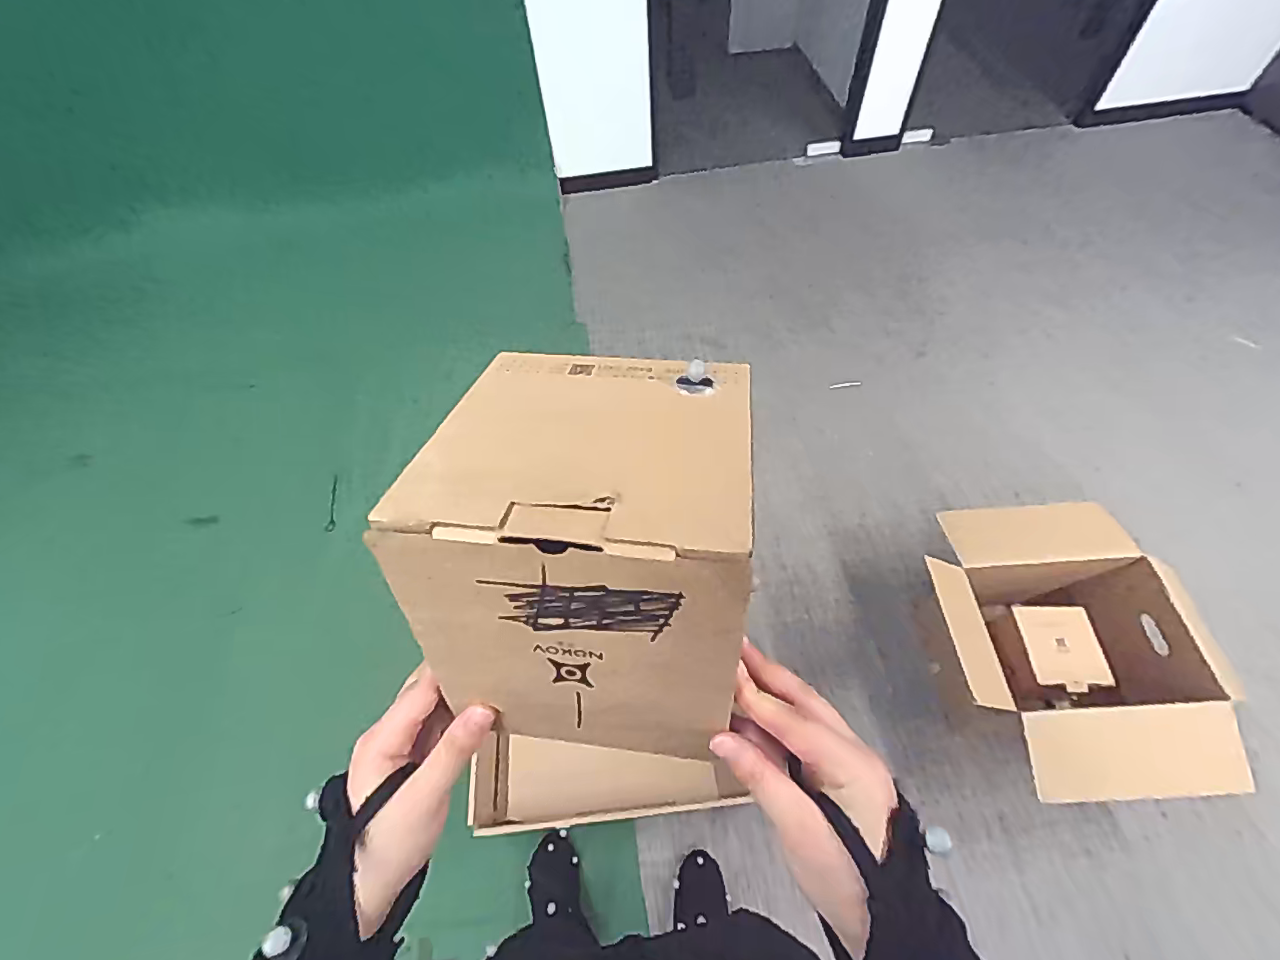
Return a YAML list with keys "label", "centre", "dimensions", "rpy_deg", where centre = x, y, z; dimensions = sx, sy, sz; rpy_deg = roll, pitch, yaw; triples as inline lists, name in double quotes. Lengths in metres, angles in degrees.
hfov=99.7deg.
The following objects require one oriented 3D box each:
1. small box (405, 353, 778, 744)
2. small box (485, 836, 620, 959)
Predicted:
- label: "small box"
  centre: [-0.013, 0.034, 0.342]
  dimensions: [0.168, 0.179, 0.176]
  rpy_deg: [5, 39, 7]
- label: "small box"
  centre: [-0.164, 0.846, 1.067]
  dimensions: [0.176, 0.168, 0.179]
  rpy_deg: [51, 42, 0]
